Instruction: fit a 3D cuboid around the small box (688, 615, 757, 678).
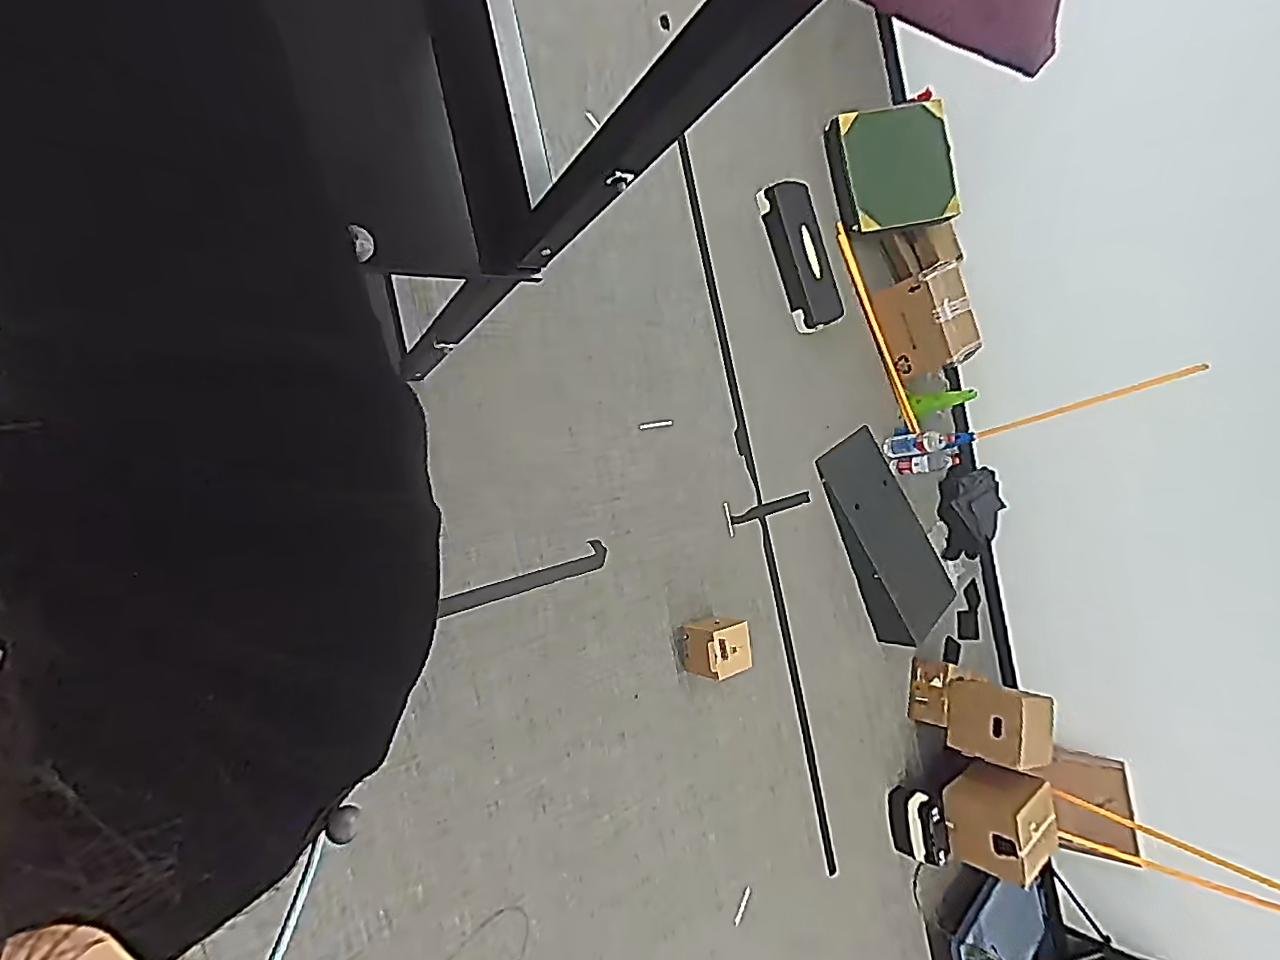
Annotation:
[{"bbox_3d":[0.287,0.587,1.925,0.179,0.176,0.168,-6,88,-37],"label":"small box"}]
